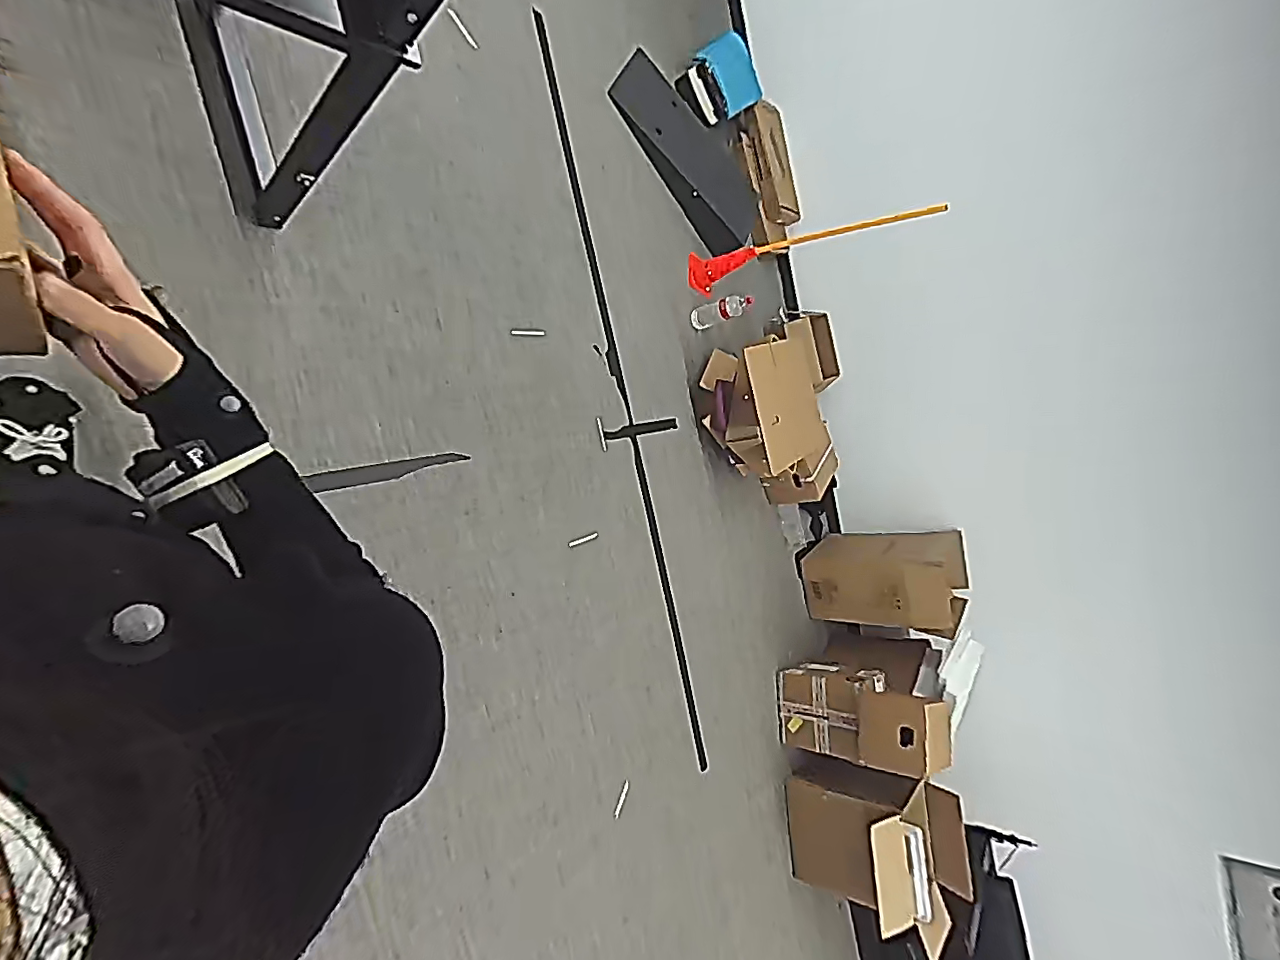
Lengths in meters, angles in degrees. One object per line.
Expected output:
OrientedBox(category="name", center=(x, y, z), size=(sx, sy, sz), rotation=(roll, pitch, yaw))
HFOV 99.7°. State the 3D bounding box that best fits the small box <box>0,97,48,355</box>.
OrientedBox(category="small box", center=(-0.421, -0.168, 0.257), size=(0.168, 0.176, 0.179), rotation=(-14, 95, -45))
